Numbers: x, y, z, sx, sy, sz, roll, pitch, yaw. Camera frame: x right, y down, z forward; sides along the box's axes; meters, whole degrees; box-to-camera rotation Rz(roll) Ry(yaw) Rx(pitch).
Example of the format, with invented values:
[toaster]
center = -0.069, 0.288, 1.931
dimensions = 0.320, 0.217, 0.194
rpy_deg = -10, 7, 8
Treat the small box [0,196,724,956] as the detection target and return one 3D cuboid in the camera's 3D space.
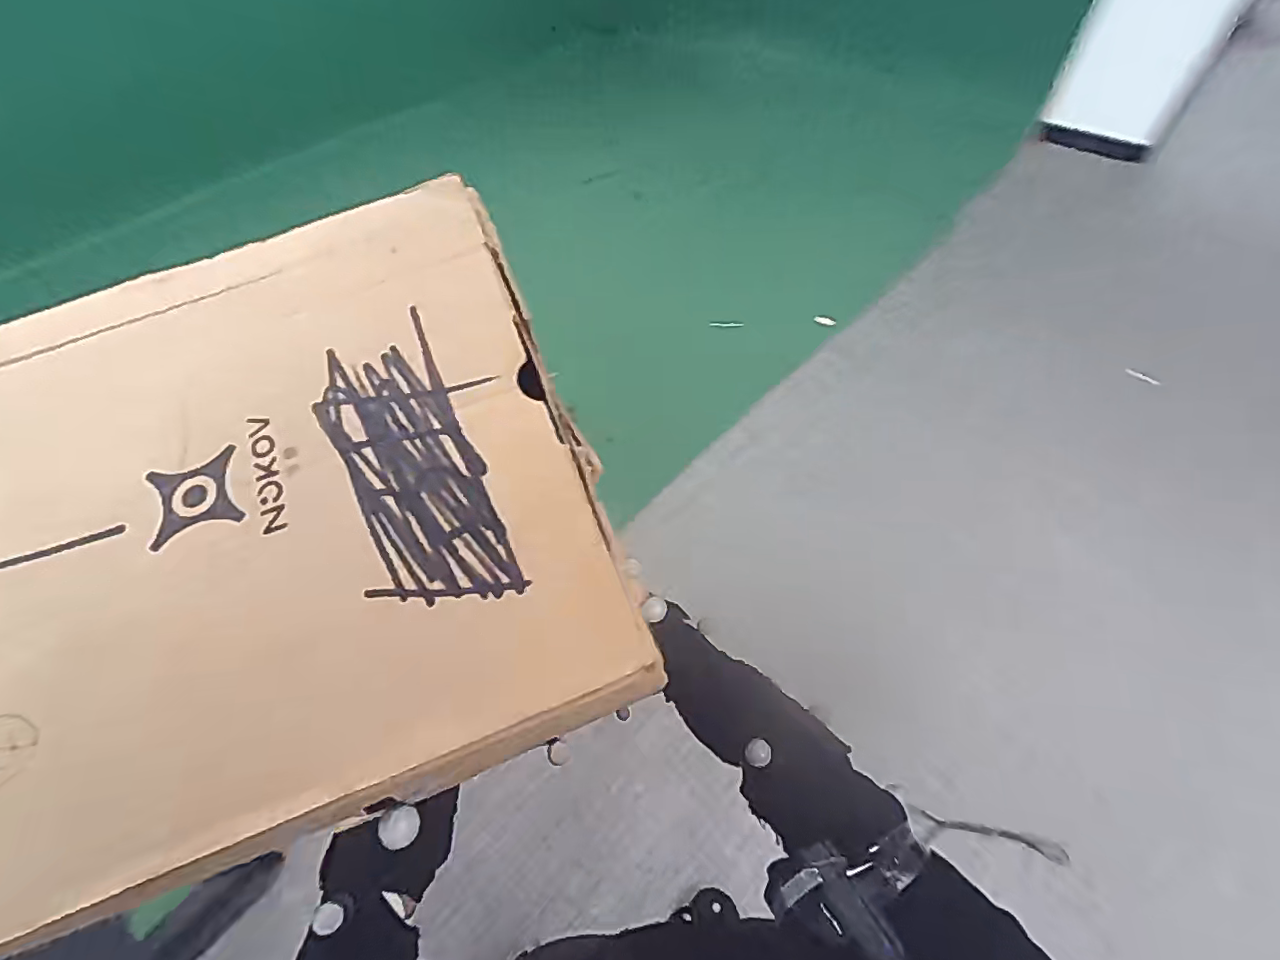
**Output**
[small box]
center = -0.087, 0.029, 0.227
dimensions = 0.179, 0.176, 0.168
rpy_deg = -23, 69, -7
